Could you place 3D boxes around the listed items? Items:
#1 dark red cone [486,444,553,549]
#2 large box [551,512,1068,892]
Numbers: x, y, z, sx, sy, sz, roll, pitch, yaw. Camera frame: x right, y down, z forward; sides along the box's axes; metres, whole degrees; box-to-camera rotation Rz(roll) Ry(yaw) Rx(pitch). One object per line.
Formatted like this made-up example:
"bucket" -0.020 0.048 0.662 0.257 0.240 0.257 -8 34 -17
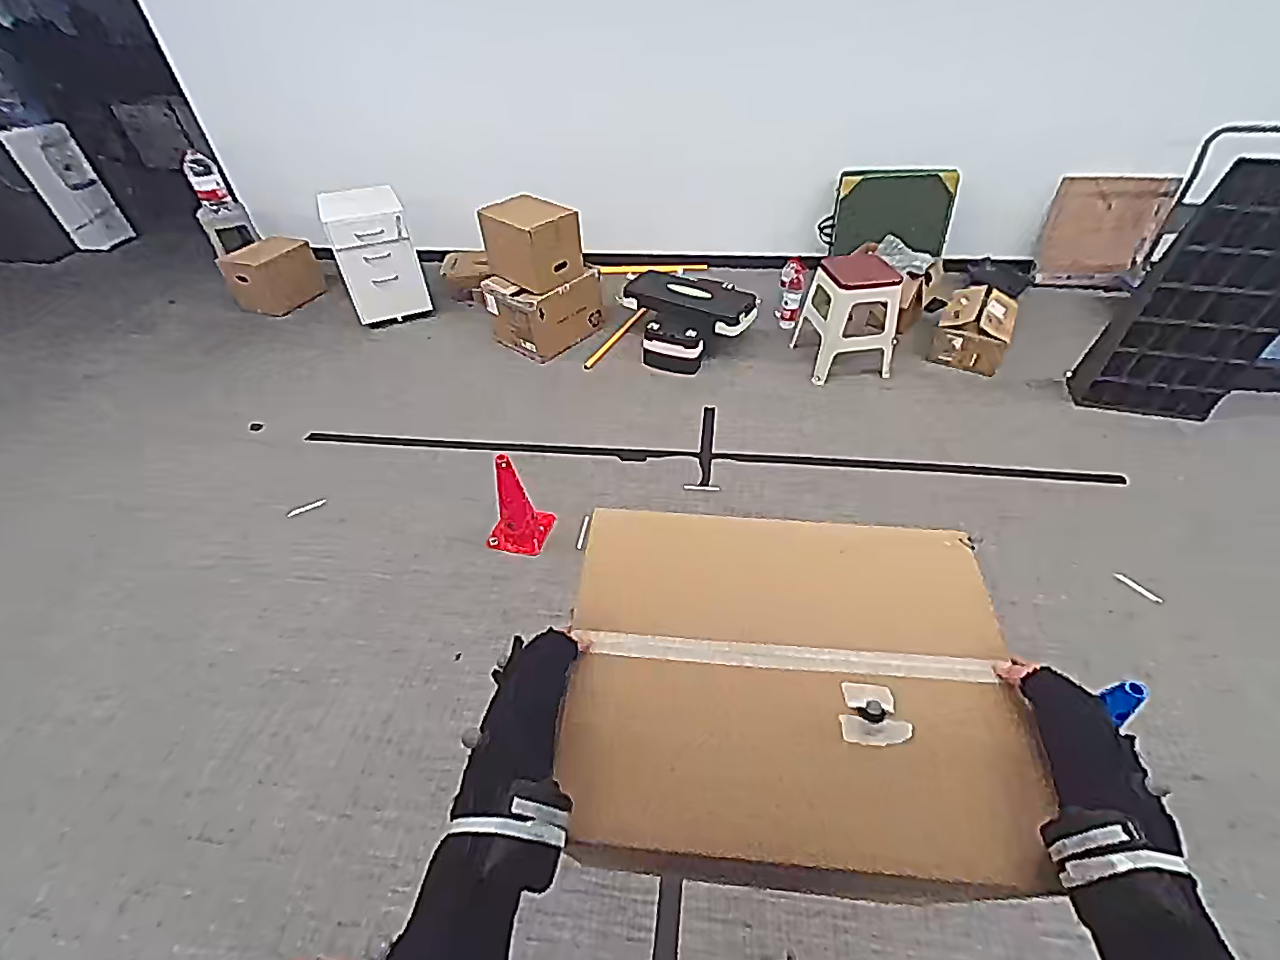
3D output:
"dark red cone" -0.432 0.041 1.823 0.201 0.394 0.202 8 45 10
"large box" 0.136 0.258 0.622 0.408 0.320 0.320 4 51 3
